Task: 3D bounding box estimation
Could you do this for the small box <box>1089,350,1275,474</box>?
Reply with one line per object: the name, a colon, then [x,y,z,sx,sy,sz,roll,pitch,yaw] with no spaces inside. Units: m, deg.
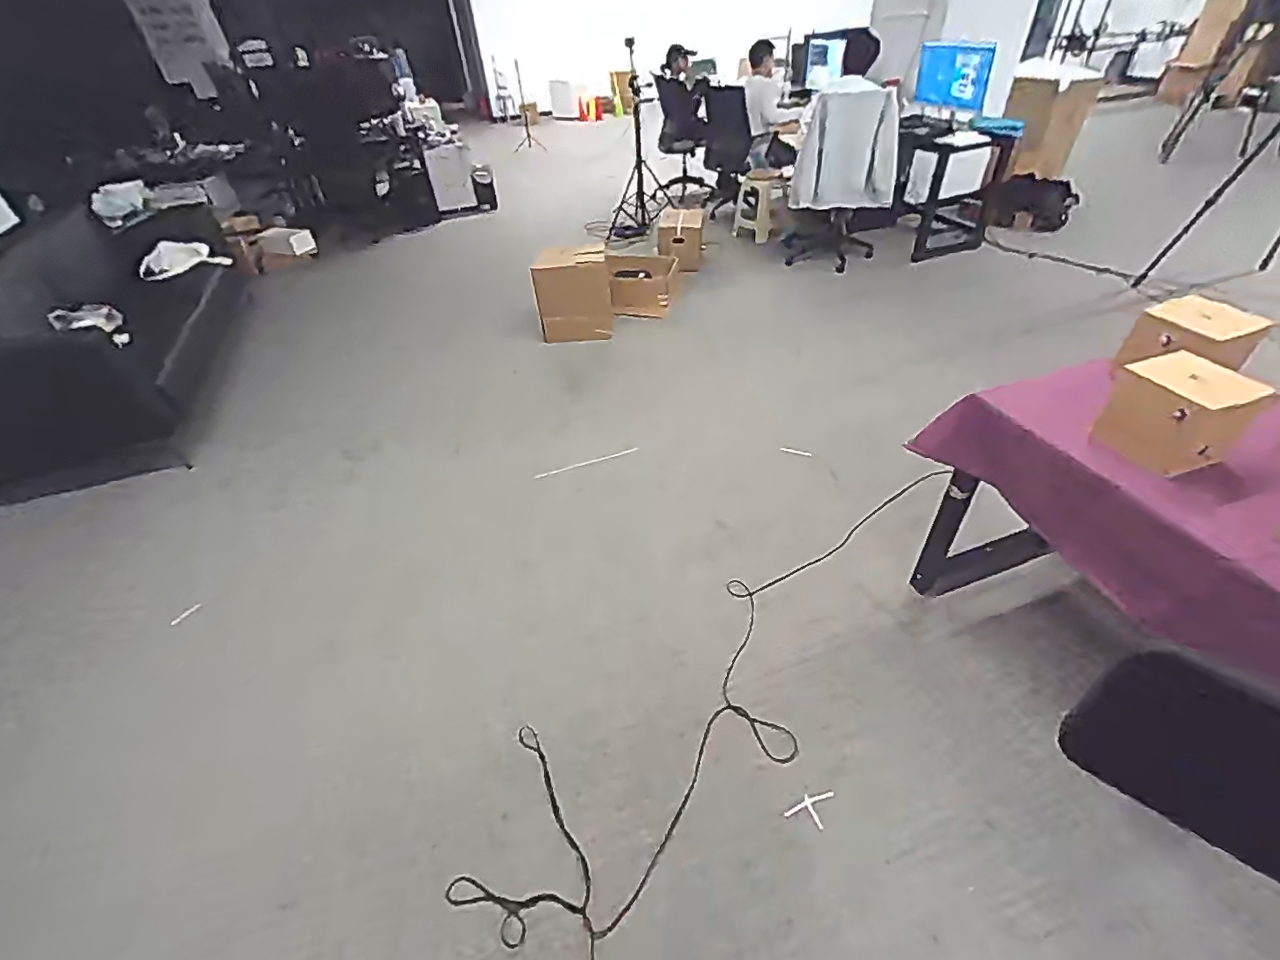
small box: [1.086,-0.140,1.105,0.168,0.176,0.179,-15,43,-11]
